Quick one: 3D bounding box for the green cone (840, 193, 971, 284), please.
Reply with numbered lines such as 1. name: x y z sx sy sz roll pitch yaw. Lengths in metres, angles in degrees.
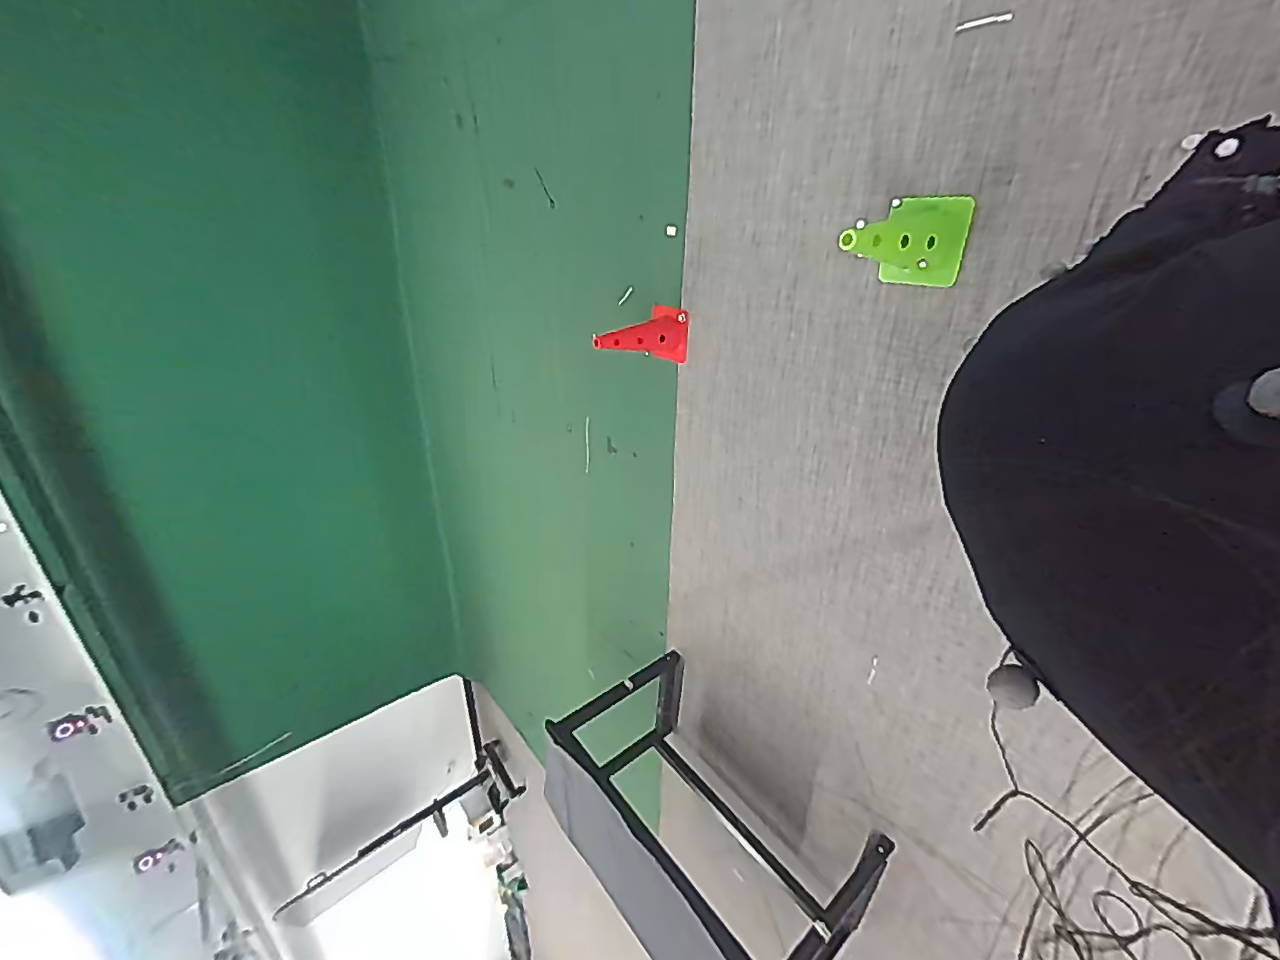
1. green cone: 0.571 -0.553 1.246 0.202 0.368 0.200 25 125 44
